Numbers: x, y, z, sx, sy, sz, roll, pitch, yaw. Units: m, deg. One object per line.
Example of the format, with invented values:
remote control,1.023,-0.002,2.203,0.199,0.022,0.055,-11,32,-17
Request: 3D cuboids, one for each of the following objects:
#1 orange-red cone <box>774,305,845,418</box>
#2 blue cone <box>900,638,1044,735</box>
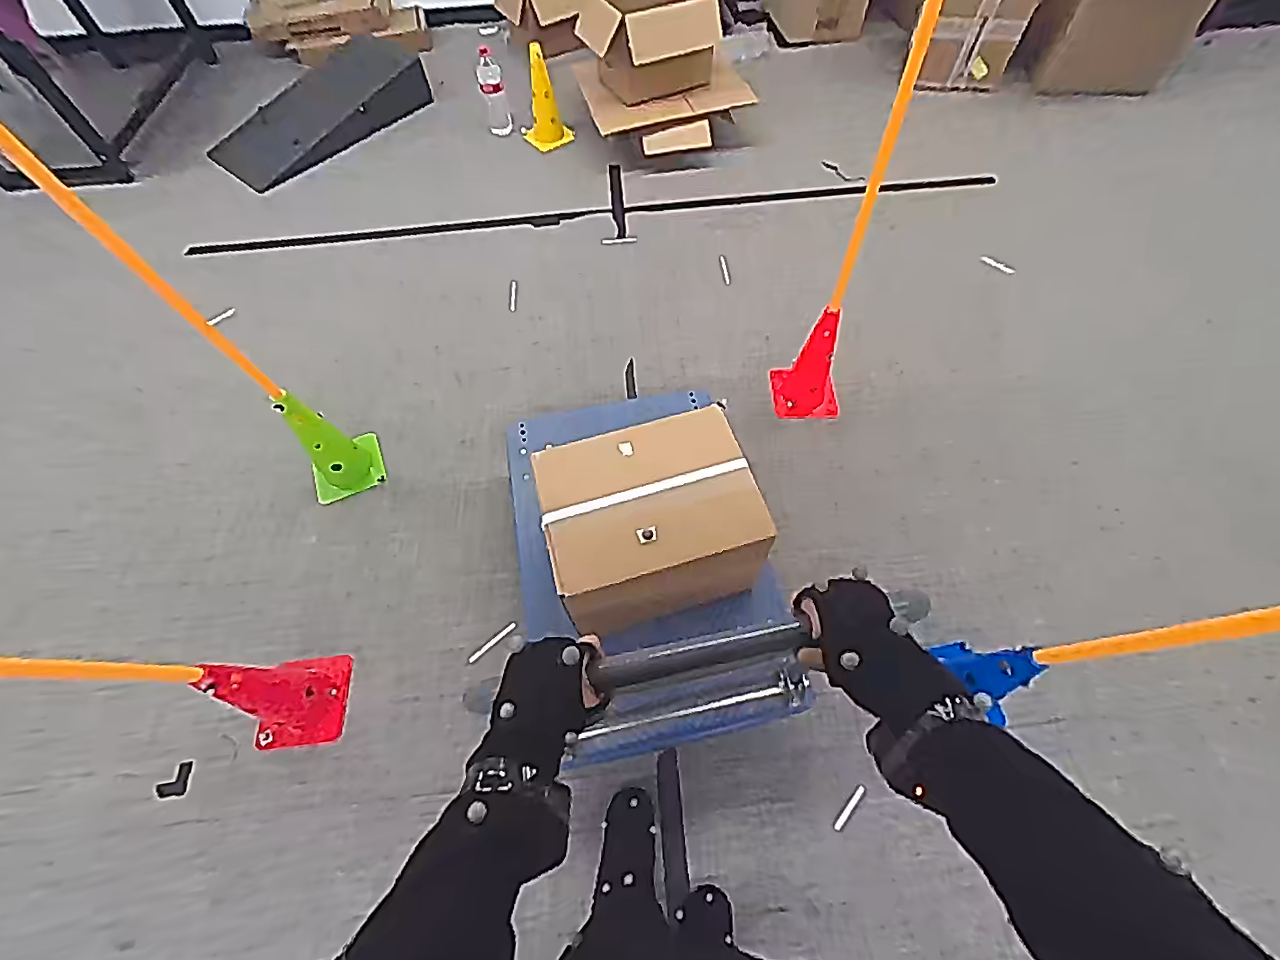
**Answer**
orange-red cone,0.529,-0.363,1.579,0.199,0.360,0.198,1,61,1
blue cone,0.732,0.412,1.144,0.193,0.380,0.192,-8,59,-3
